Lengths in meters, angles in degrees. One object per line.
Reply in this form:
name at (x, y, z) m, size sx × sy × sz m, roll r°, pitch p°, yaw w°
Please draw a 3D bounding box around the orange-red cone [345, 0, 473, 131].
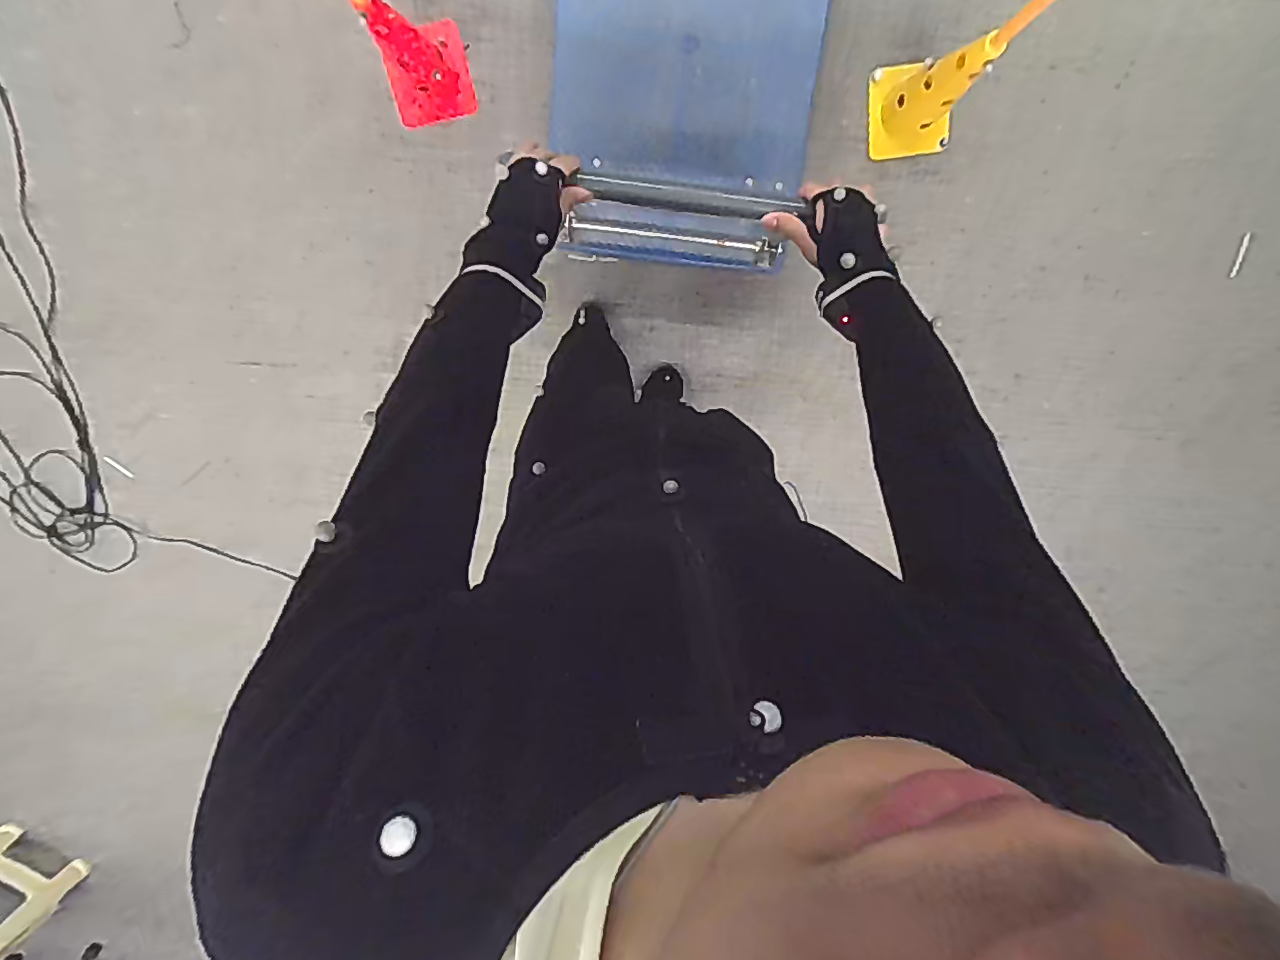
orange-red cone at (-0.522, -0.927, 1.159) m, size 0.199 × 0.360 × 0.198 m, roll -10°, pitch 106°, yaw 4°
